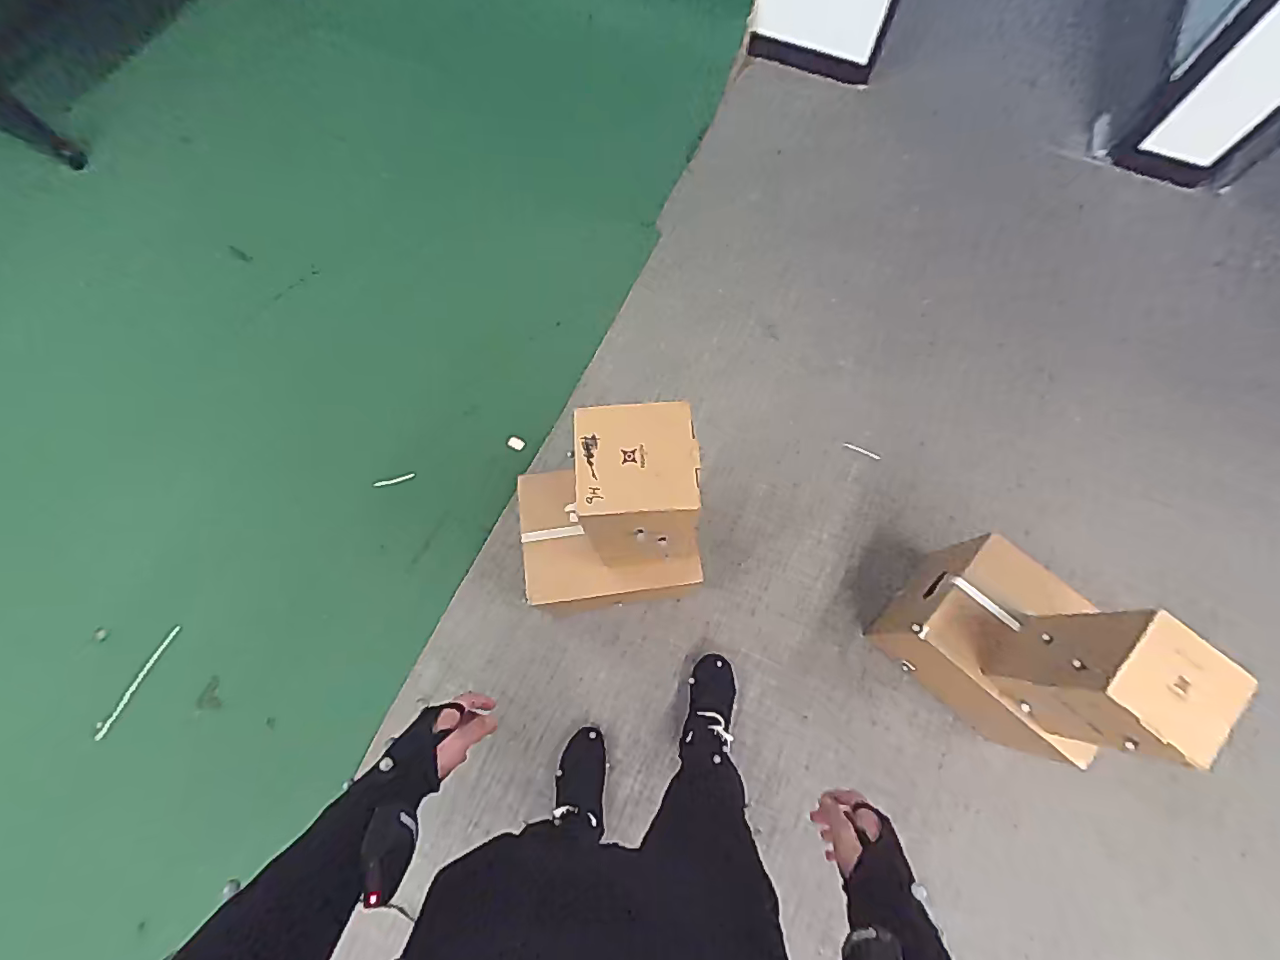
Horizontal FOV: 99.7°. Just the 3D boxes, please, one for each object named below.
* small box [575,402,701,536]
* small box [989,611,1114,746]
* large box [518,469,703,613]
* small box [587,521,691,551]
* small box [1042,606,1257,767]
[{"bbox_3d":[-0.006,-0.011,0.846,0.179,0.176,0.168,-3,72,-1],"label":"small box"},{"bbox_3d":[0.836,0.377,1.058,0.179,0.176,0.168,-44,77,-10],"label":"small box"},{"bbox_3d":[-0.070,0.152,1.398,0.408,0.320,0.320,-8,72,-1],"label":"large box"},{"bbox_3d":[-0.005,0.034,1.004,0.179,0.176,0.168,-4,72,0],"label":"small box"},{"bbox_3d":[0.826,0.334,0.901,0.168,0.176,0.179,42,79,12],"label":"small box"}]
